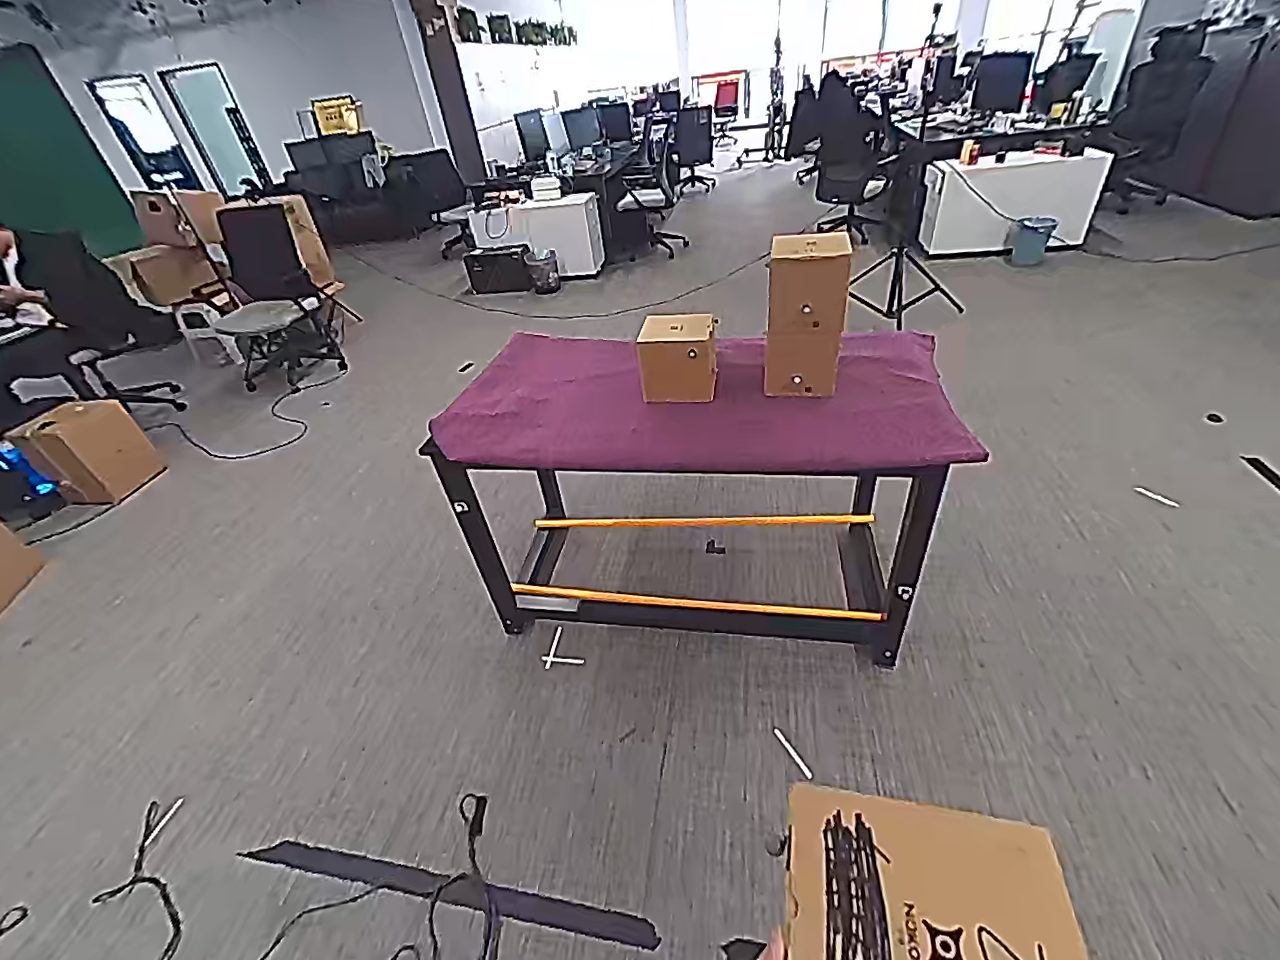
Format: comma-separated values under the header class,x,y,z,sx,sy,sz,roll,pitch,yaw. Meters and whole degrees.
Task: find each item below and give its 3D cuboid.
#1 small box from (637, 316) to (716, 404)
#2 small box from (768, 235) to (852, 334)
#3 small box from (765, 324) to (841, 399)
class,x,y,z,sx,sy,sz,roll,pitch,yaw
small box,0.099,-0.305,1.378,0.179,0.176,0.168,2,38,11
small box,0.383,-0.446,1.233,0.168,0.176,0.179,3,39,15
small box,0.398,-0.316,1.334,0.168,0.176,0.179,3,39,15
